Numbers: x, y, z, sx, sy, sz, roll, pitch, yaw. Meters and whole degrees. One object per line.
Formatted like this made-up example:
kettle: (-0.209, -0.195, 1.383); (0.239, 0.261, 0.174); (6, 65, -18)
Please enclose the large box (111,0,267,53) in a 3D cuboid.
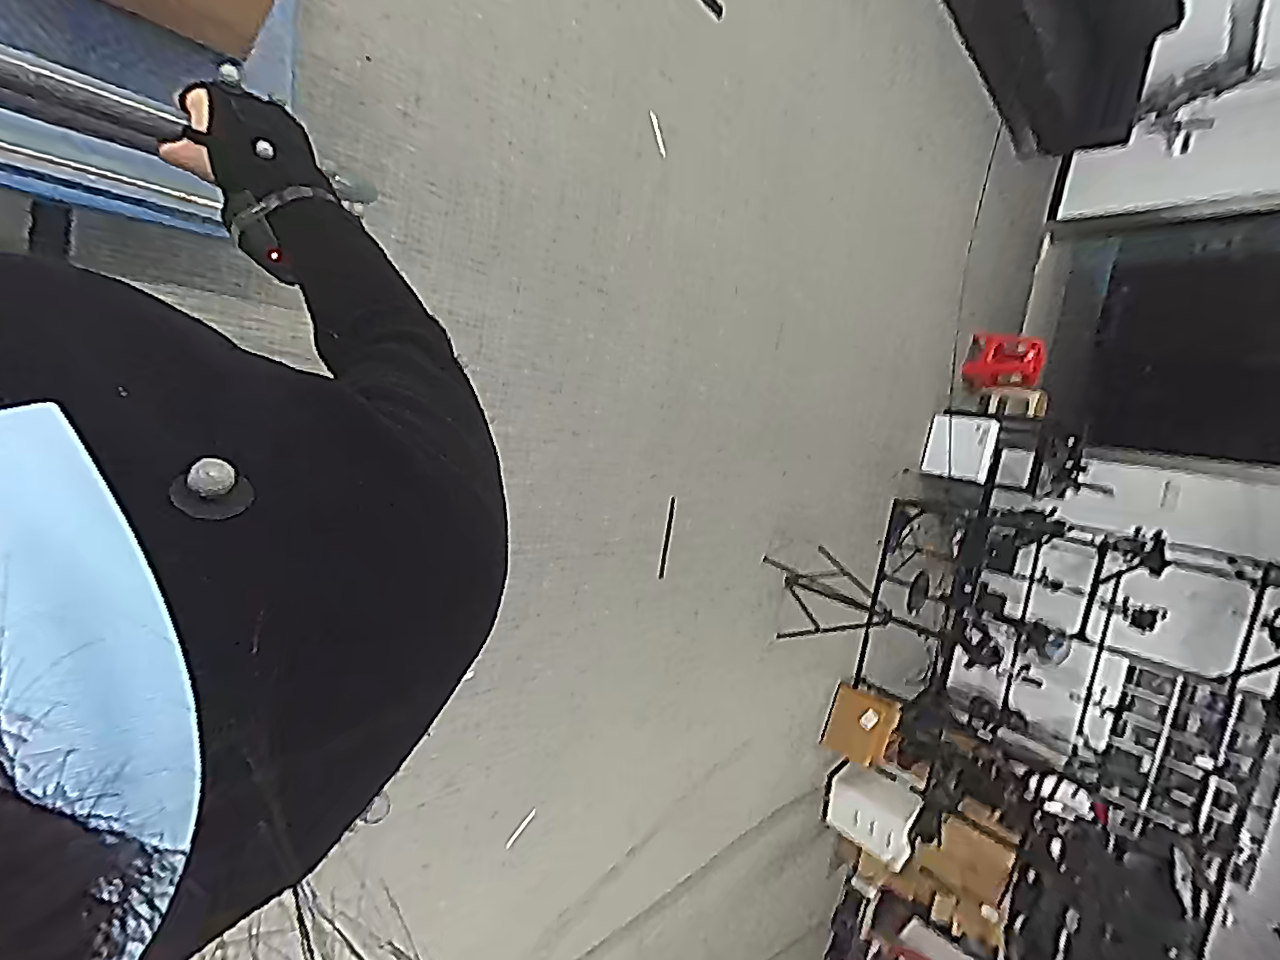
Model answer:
large box: (-0.756, -0.893, 0.731); (0.408, 0.320, 0.320); (1, 100, -44)
